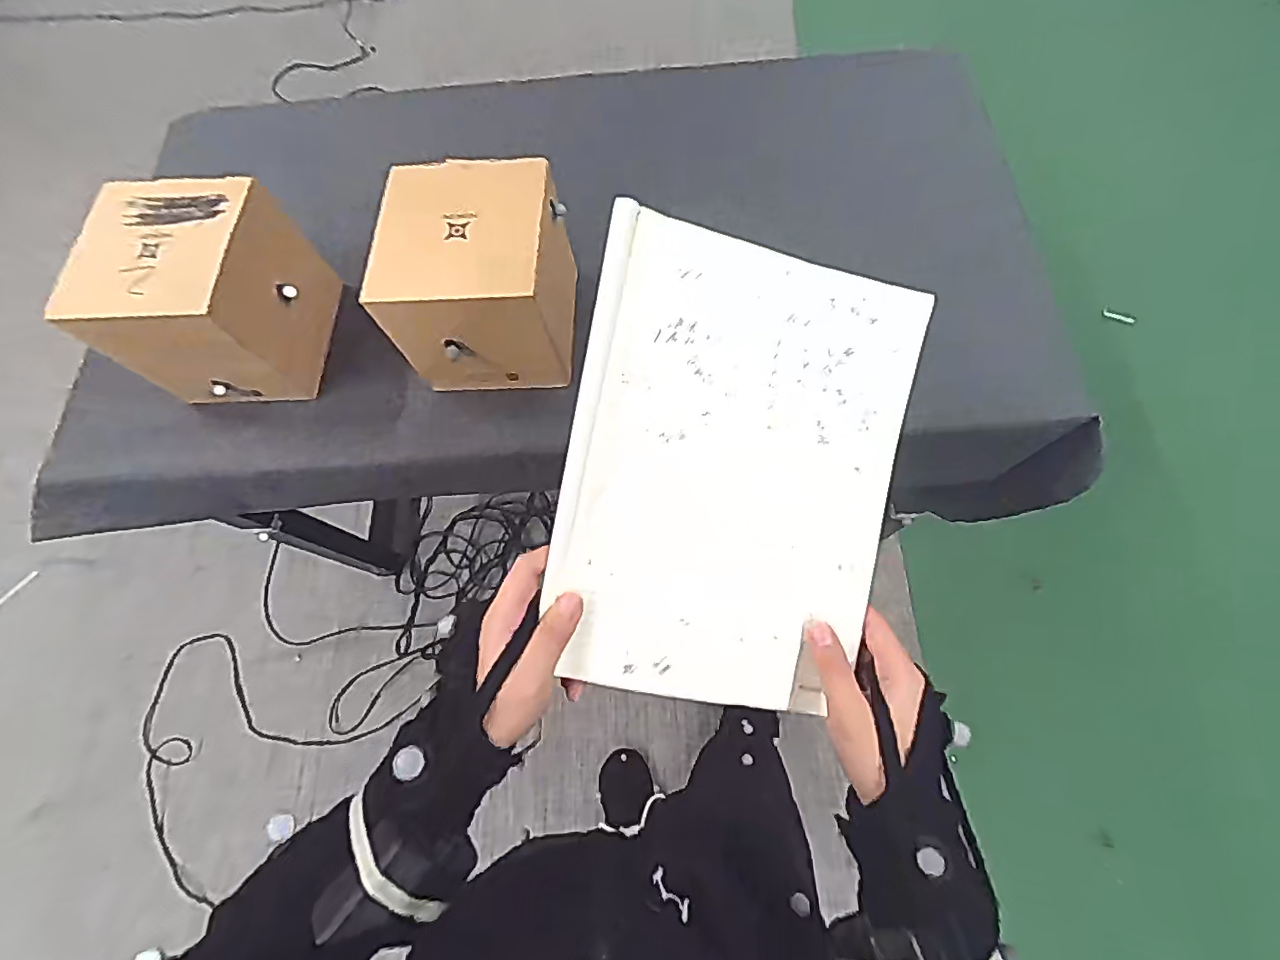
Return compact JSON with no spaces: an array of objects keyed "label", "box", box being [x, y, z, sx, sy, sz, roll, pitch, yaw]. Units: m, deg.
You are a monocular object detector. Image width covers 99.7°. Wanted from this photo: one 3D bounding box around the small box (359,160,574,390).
[{"label":"small box","box":[-0.170,-0.209,0.591,0.168,0.176,0.179,-1,68,4]}]
